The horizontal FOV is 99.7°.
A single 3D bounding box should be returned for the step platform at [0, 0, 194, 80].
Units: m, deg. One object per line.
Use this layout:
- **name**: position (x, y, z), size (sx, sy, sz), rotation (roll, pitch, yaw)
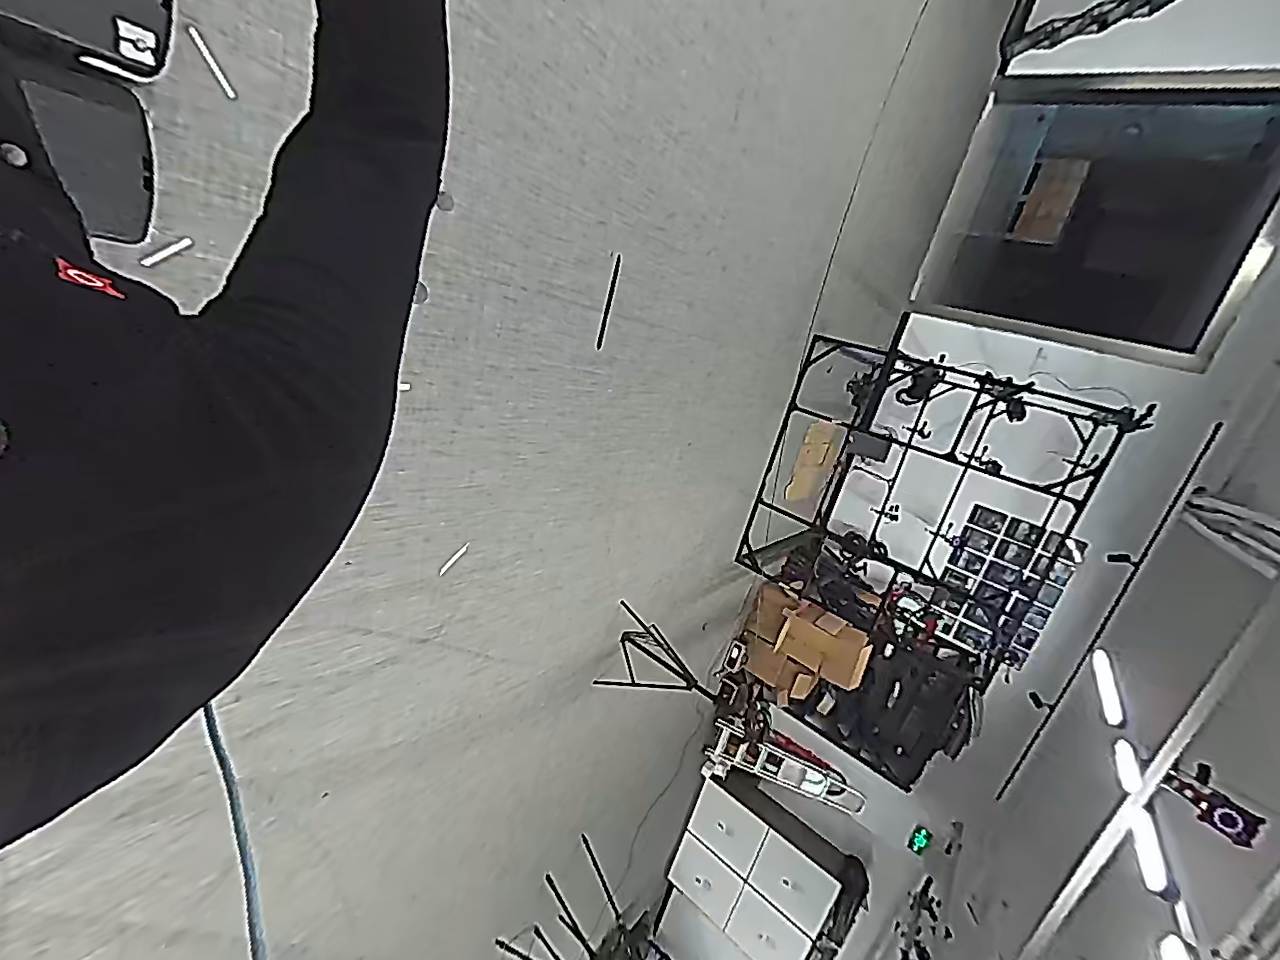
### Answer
- **step platform**: position (-1.040, -0.847, 0.726), size (0.684, 0.204, 0.286), rotation (-12, 122, -53)
